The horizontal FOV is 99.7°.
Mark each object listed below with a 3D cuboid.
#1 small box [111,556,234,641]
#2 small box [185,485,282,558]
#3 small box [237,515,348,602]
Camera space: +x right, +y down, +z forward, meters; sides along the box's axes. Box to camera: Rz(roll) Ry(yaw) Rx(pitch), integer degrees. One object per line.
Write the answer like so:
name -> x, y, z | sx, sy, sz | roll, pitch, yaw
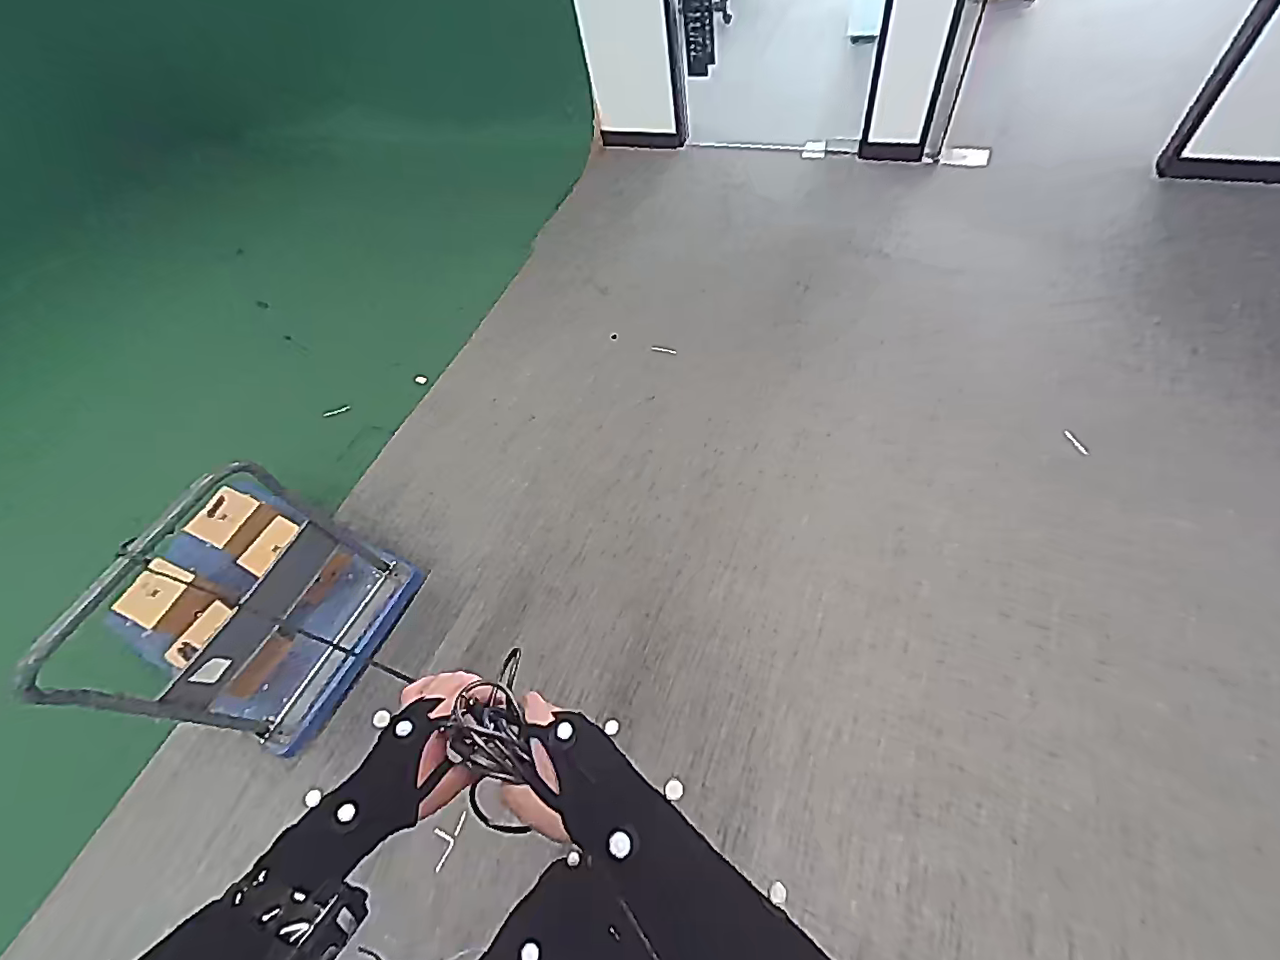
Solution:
small box -> -1.343, 0.350, 1.568 | 0.179, 0.176, 0.168 | 17, 62, 19
small box -> -1.232, 0.145, 1.675 | 0.179, 0.176, 0.168 | 19, 64, 19
small box -> -1.009, 0.236, 1.585 | 0.179, 0.176, 0.168 | 22, 64, 20
